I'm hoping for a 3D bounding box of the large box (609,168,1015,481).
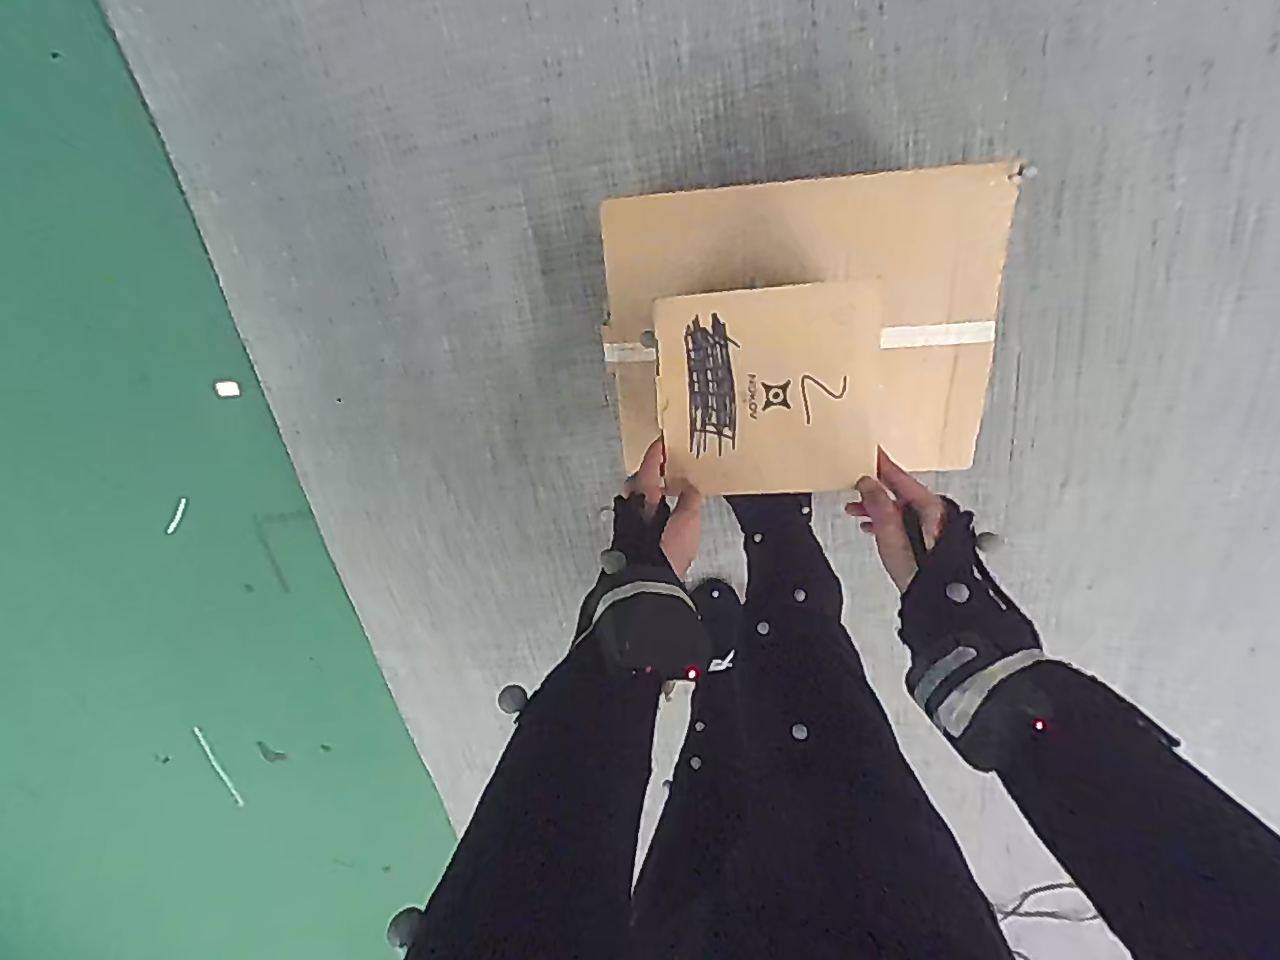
[{"bbox_3d":[0.191,-0.201,0.732,0.408,0.320,0.320,-1,112,8],"label":"large box"}]
